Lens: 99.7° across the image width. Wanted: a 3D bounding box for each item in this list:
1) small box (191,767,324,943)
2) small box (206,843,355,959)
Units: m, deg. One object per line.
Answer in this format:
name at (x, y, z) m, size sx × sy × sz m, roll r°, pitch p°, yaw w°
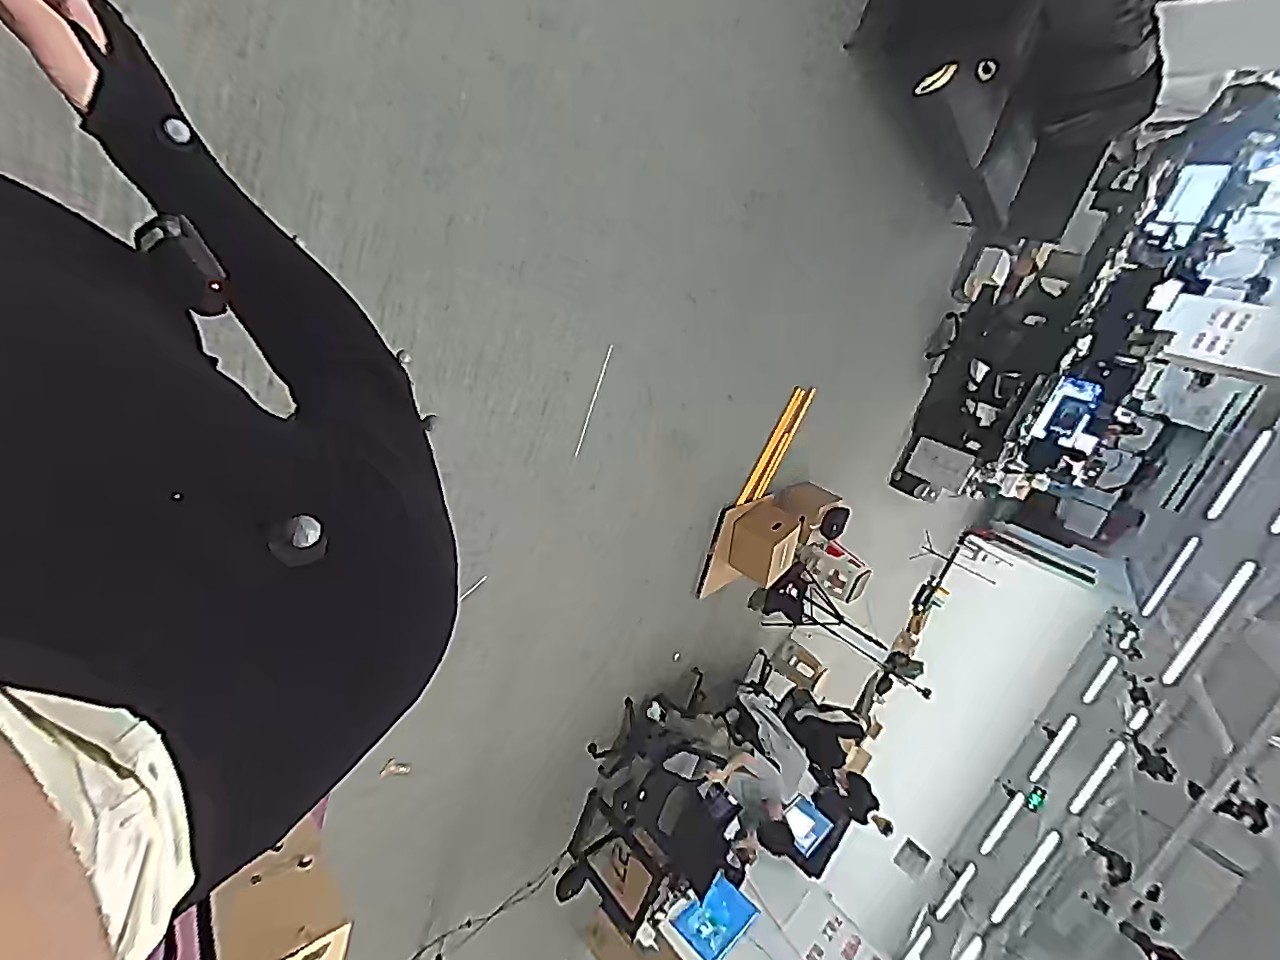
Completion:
small box at (-0.718, 0.686, 1.010) m, size 0.168 × 0.176 × 0.179 m, roll -1°, pitch 117°, yaw -48°
small box at (-0.608, 0.757, 0.910) m, size 0.168 × 0.176 × 0.179 m, roll 0°, pitch 116°, yaw -48°
